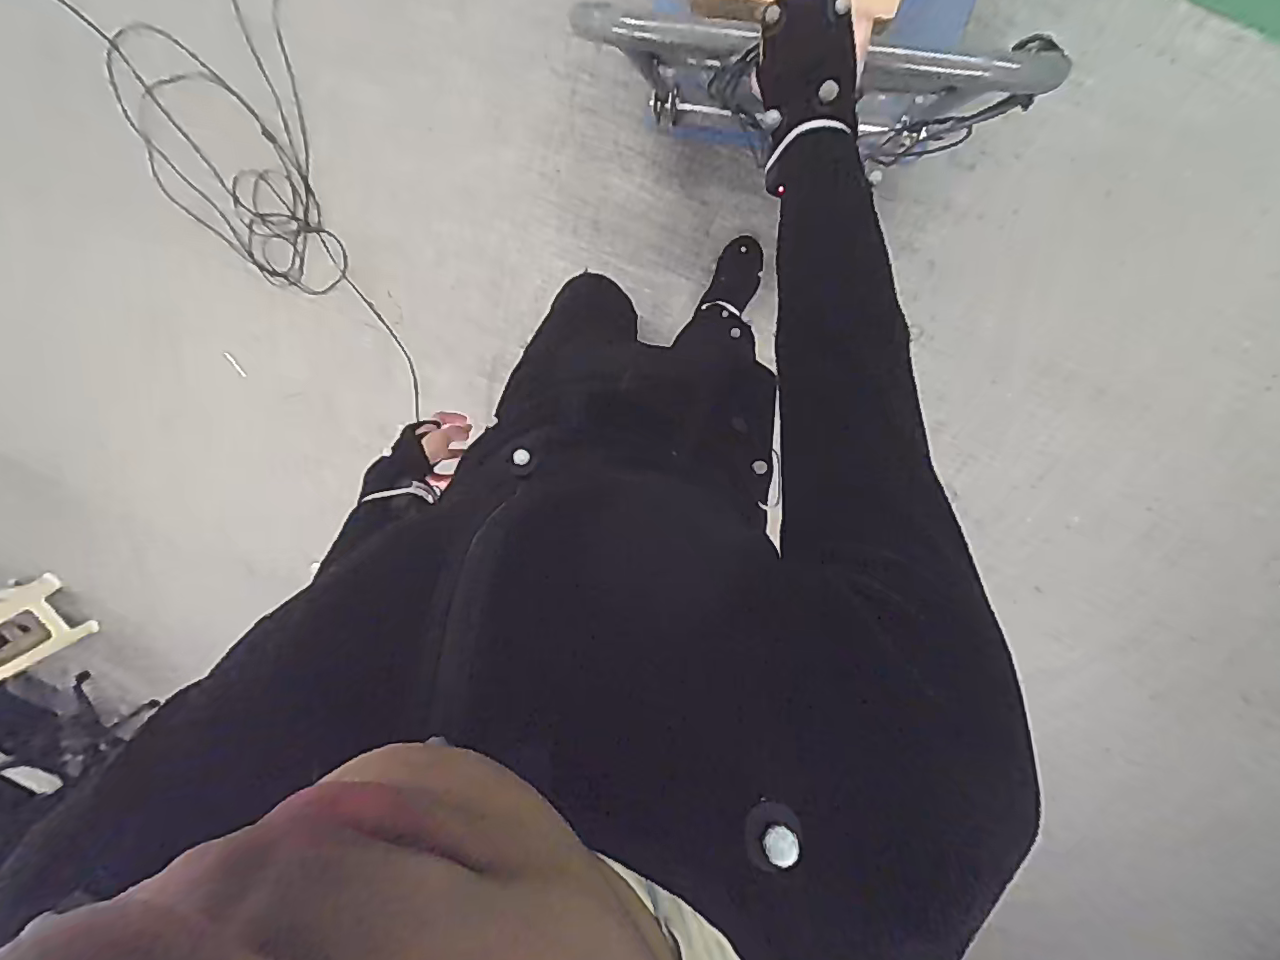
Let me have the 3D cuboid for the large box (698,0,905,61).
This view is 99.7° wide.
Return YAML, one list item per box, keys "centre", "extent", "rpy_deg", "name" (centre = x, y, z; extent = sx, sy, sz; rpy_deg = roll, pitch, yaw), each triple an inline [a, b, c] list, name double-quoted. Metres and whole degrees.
- centre: [0.280, -0.925, 0.808]
  extent: [0.320, 0.320, 0.408]
  rpy_deg: [14, 118, 5]
  name: "large box"
